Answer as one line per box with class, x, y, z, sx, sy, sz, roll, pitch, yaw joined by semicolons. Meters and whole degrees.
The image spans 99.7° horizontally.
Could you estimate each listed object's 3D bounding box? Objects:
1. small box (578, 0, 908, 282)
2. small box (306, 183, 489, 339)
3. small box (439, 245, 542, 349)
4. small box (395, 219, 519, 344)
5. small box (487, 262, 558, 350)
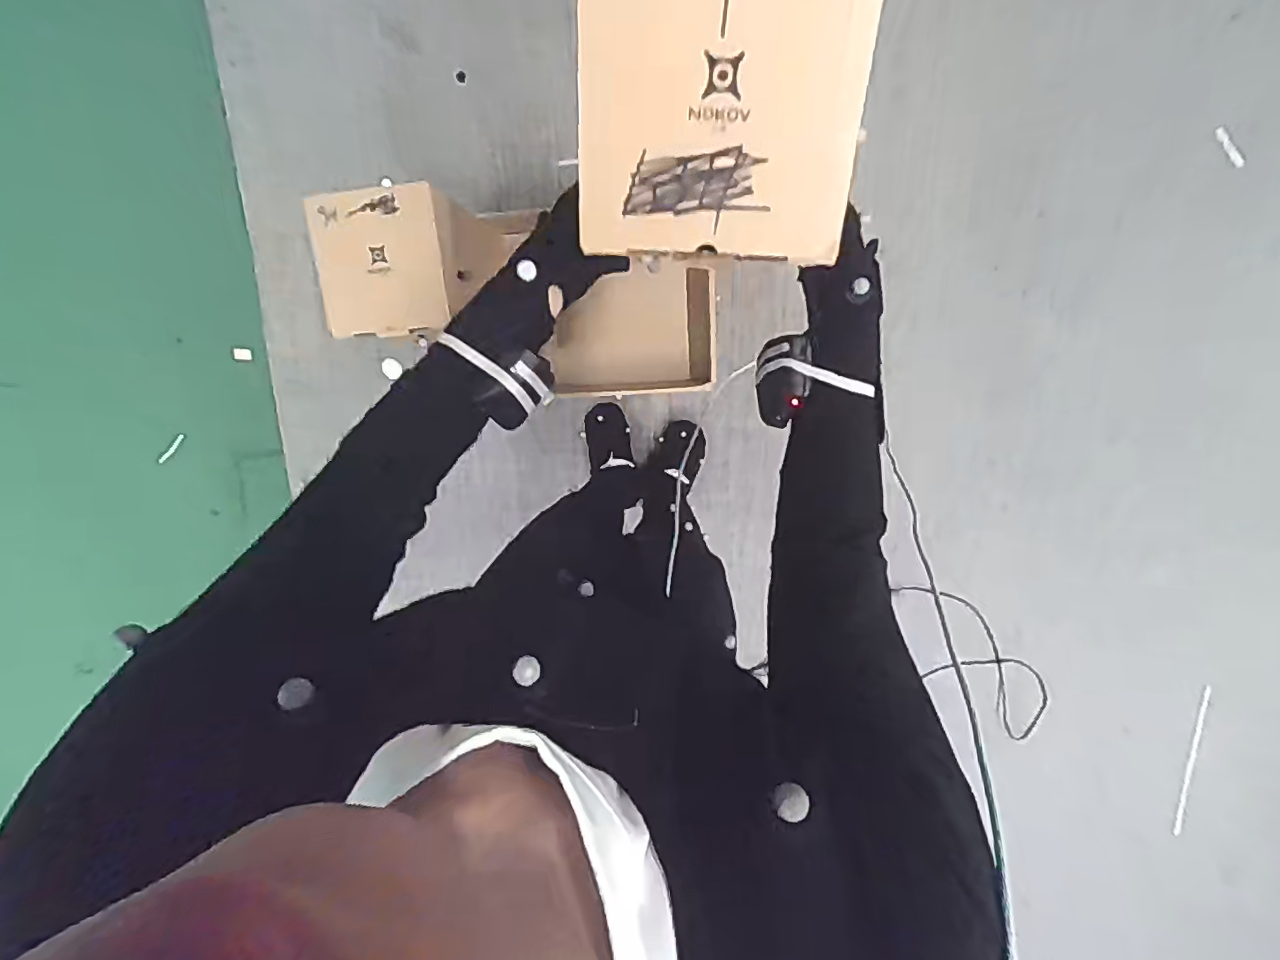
small box;0.056;-0.246;0.371;0.168;0.176;0.179;7;116;1
small box;-0.323;-0.294;0.760;0.168;0.176;0.179;-4;103;3
small box;-0.300;-0.357;1.081;0.168;0.176;0.179;-2;103;4
small box;-0.313;-0.327;0.920;0.168;0.176;0.179;-3;102;4
small box;-0.288;-0.391;1.240;0.168;0.176;0.179;0;103;4
